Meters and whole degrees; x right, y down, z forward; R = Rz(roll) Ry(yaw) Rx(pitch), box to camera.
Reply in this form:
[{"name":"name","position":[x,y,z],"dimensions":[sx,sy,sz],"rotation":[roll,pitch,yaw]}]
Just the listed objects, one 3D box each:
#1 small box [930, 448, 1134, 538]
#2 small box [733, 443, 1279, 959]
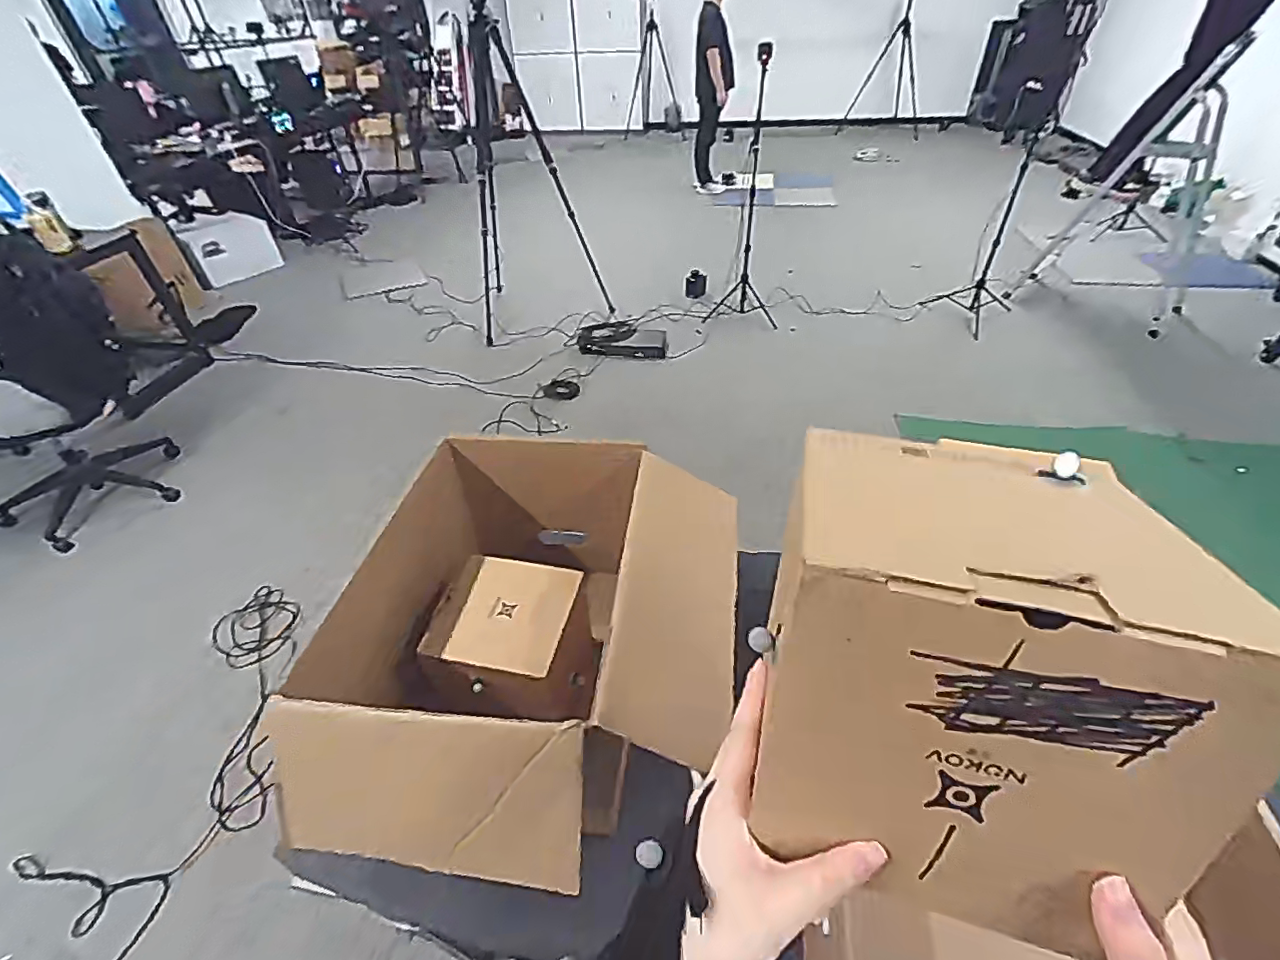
[{"name":"small box","position":[0.416,0.088,0.625],"dimensions":[0.179,0.176,0.168],"rotation":[11,44,14]},{"name":"small box","position":[0.153,0.094,0.296],"dimensions":[0.168,0.179,0.176],"rotation":[11,27,13]}]
